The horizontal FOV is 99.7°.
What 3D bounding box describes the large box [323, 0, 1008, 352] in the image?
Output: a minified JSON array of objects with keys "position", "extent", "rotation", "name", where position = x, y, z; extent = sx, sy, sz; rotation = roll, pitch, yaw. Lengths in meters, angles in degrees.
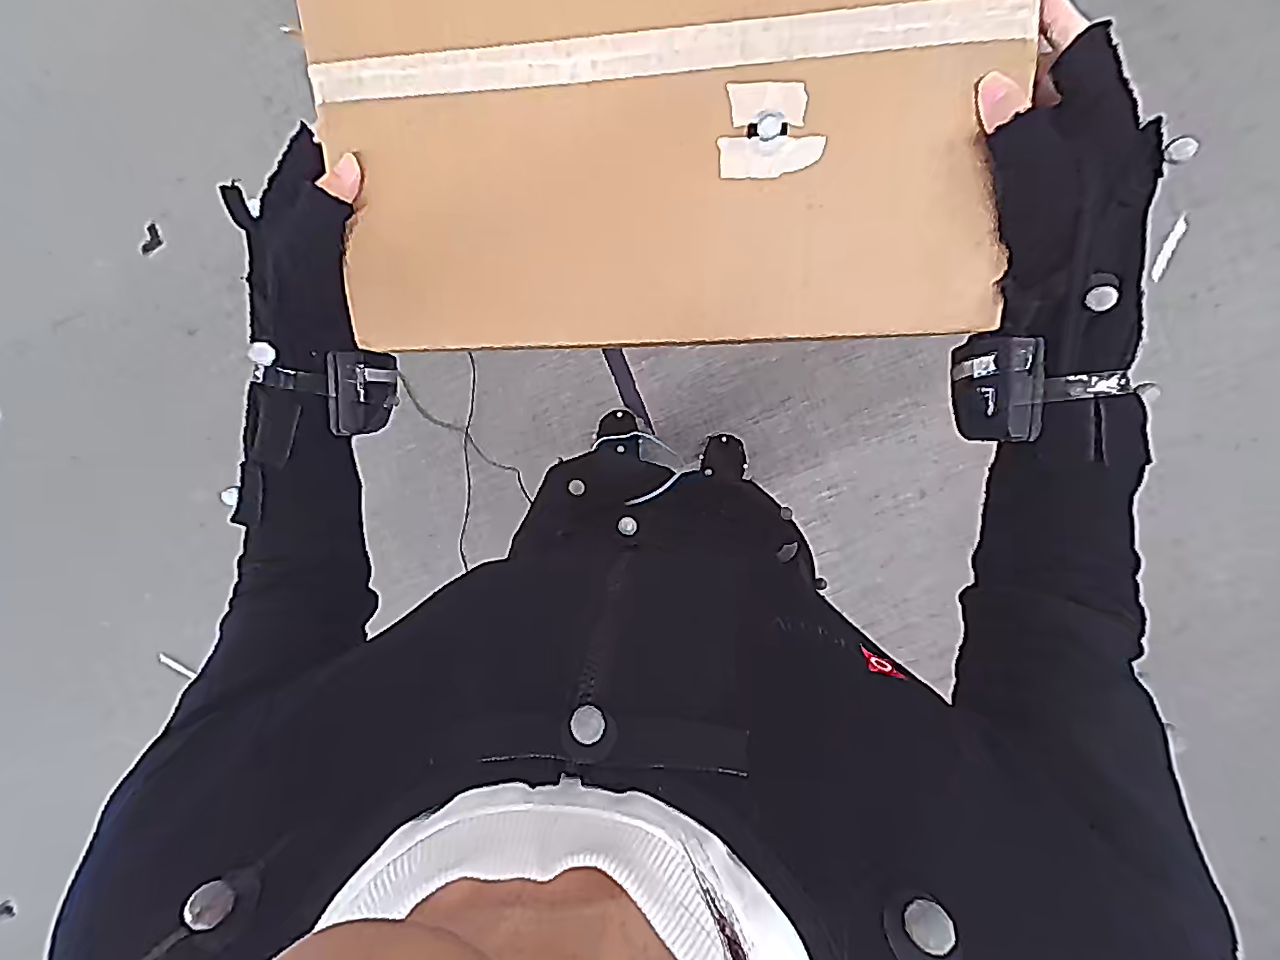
[{"position":[0.018,-0.283,0.463],"extent":[0.408,0.320,0.320],"rotation":[-2,105,6],"name":"large box"}]
